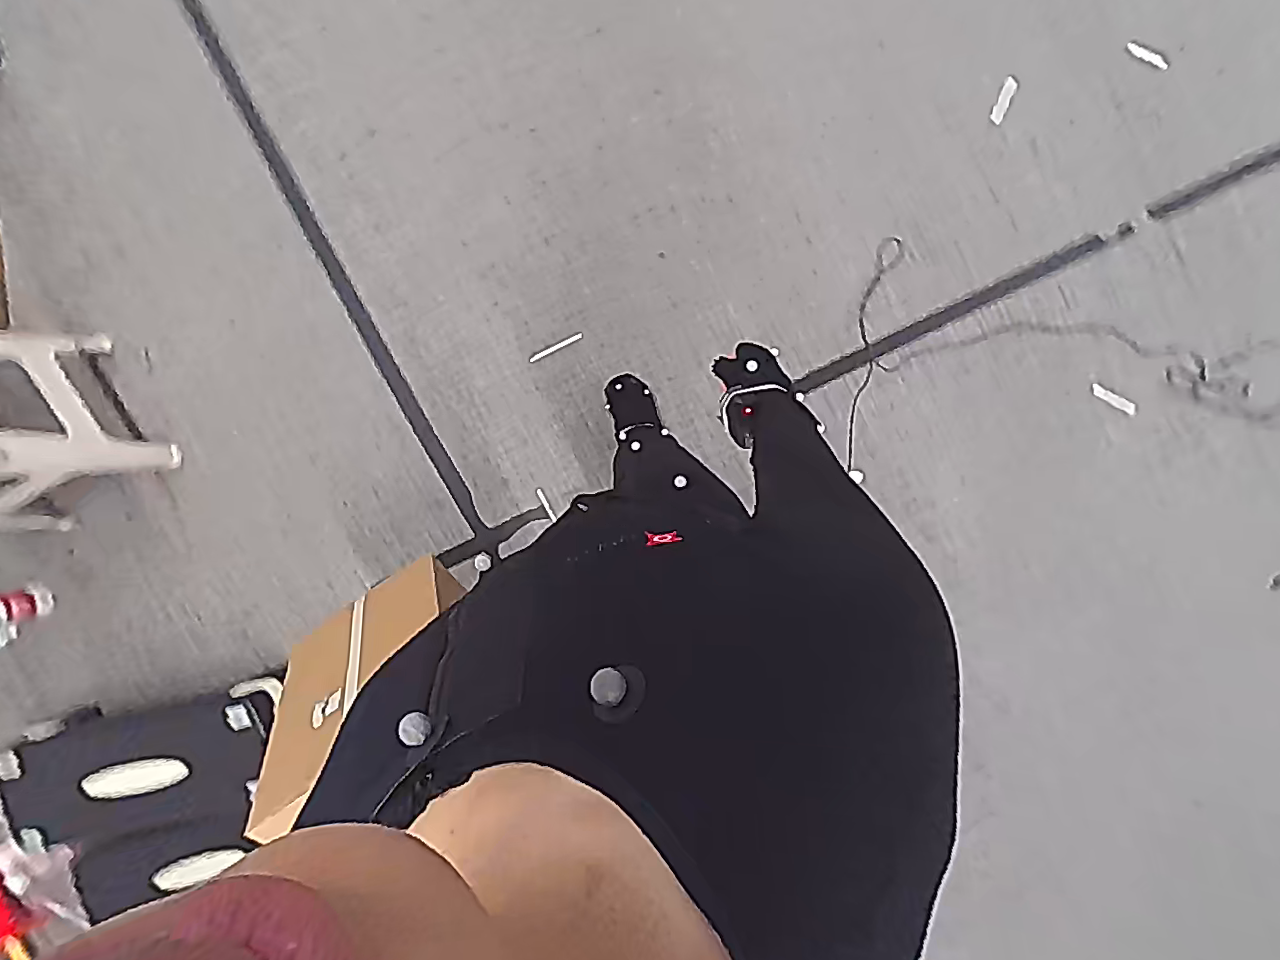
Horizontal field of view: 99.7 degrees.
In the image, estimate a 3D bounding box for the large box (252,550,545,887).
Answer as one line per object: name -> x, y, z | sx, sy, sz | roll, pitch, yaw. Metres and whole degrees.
large box -> -0.417, 0.406, 0.993 | 0.320, 0.408, 0.320 | -33, 122, -7
